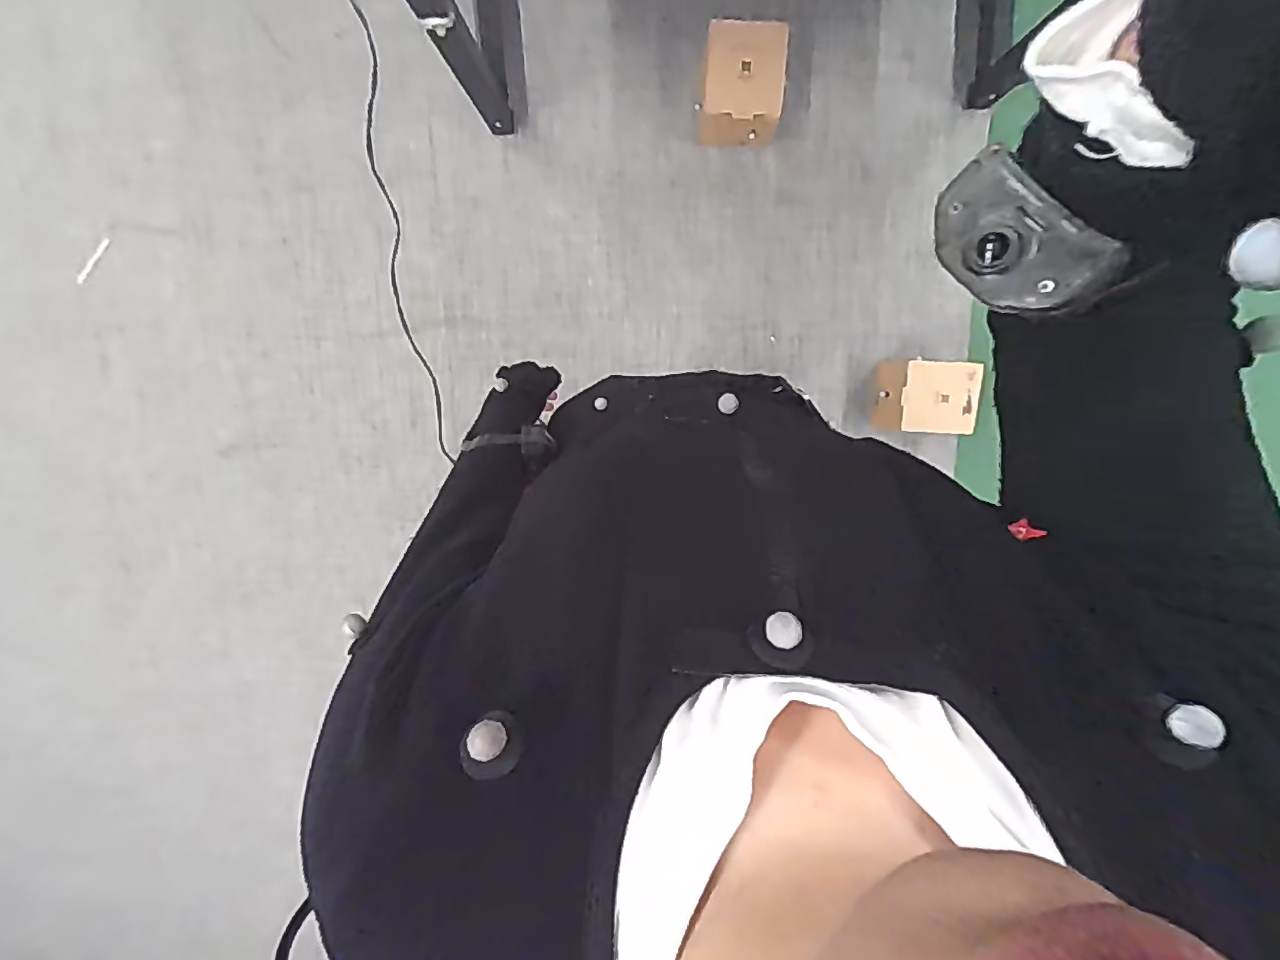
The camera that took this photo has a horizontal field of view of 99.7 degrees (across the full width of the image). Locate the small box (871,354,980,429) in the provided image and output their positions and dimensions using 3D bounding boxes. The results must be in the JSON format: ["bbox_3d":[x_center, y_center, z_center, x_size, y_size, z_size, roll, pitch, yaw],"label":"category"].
[{"bbox_3d":[0.693,-0.220,1.336,0.179,0.176,0.168,4,102,1],"label":"small box"}]

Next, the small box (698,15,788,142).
[{"bbox_3d":[0.221,-0.881,1.204,0.168,0.176,0.179,2,100,0],"label":"small box"}]
